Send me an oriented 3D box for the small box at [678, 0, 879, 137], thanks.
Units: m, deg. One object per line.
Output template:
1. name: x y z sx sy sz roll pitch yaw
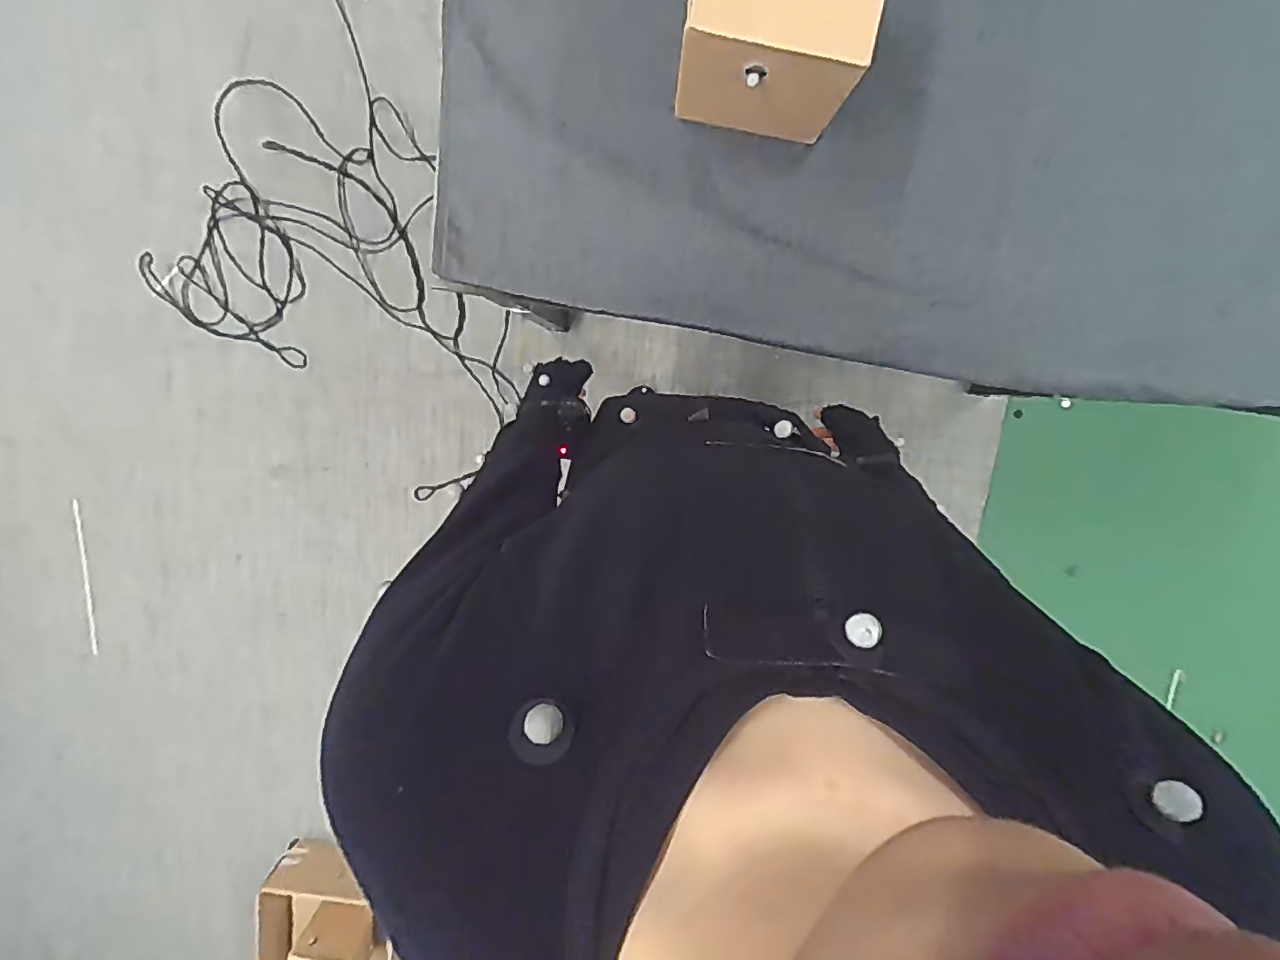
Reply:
1. small box: 0.141 -0.497 0.571 0.179 0.176 0.168 10 100 -2
